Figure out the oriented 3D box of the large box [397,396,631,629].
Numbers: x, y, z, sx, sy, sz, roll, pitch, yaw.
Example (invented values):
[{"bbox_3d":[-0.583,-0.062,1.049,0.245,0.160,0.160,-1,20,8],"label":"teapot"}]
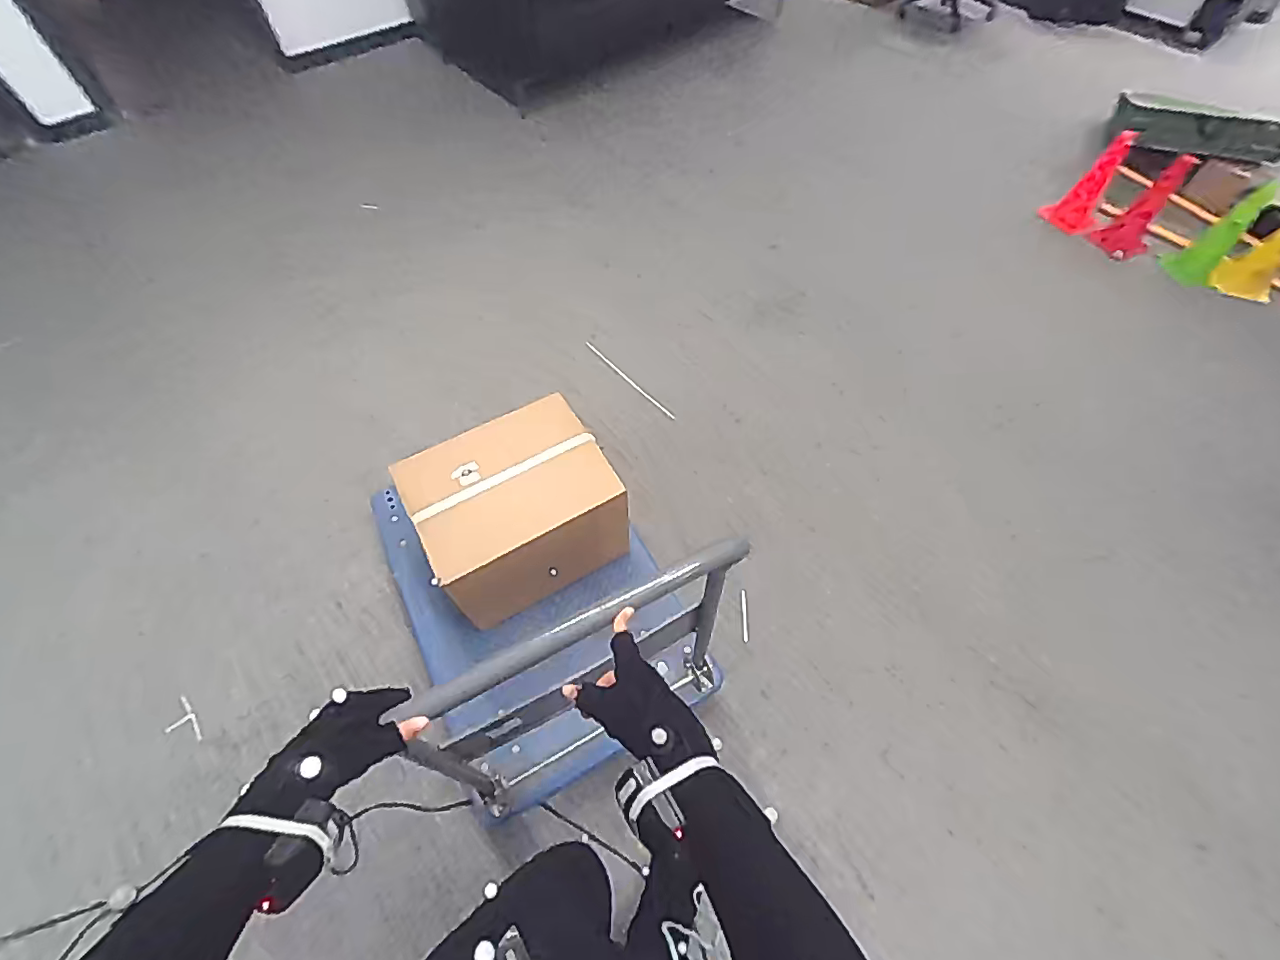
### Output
[{"bbox_3d":[-0.268,0.080,1.258,0.408,0.320,0.320,-29,62,-15],"label":"large box"}]
